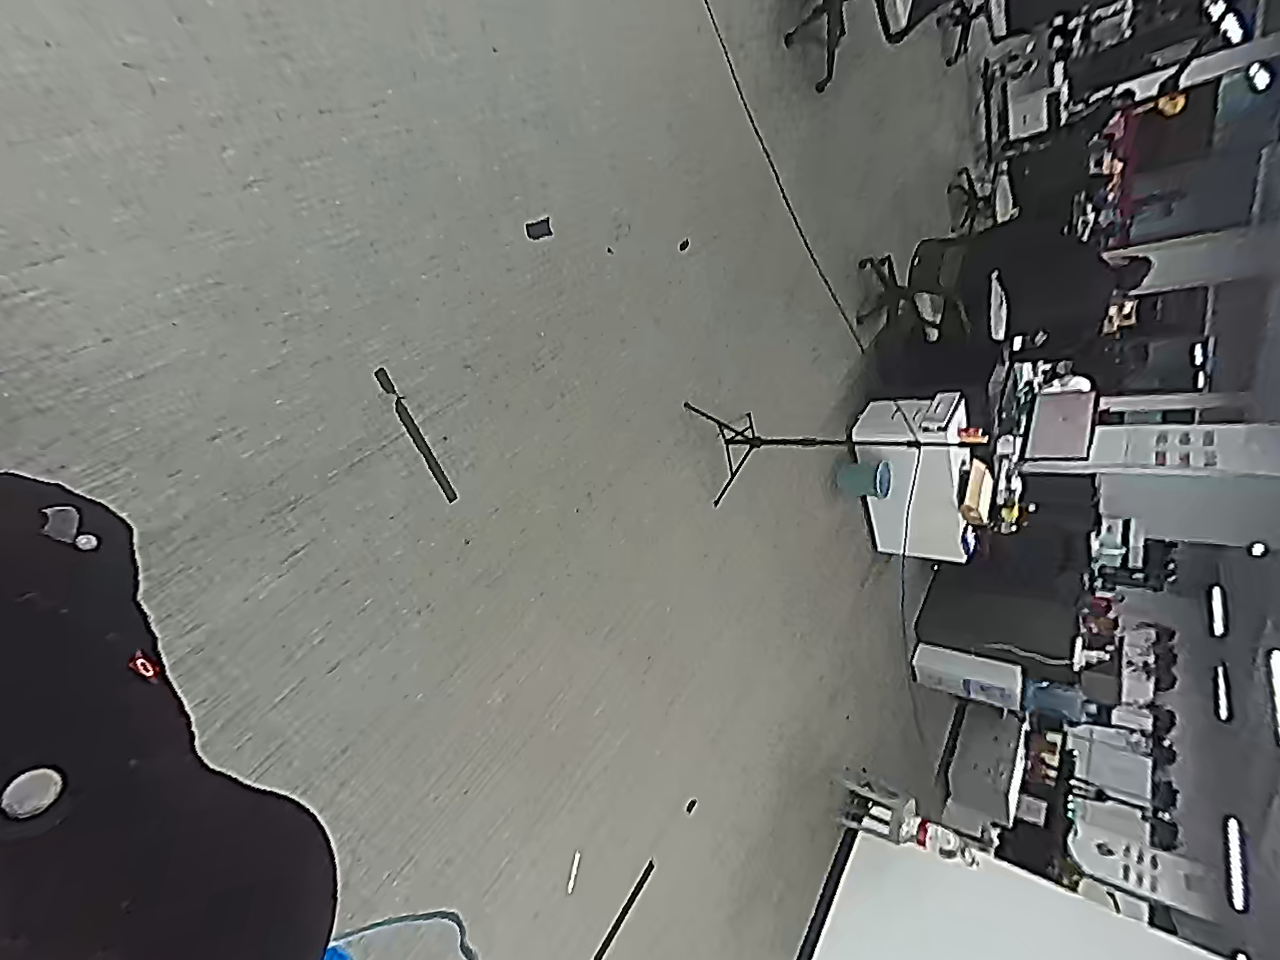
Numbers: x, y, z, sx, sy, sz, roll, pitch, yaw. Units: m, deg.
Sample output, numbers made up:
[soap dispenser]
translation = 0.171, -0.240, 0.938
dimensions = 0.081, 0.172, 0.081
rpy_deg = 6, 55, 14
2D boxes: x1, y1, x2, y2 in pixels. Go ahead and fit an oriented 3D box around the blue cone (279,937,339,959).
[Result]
[blue cone]
translation = -0.692, 1.205, 1.153
dimensions = 0.192, 0.380, 0.193
rpy_deg = -44, 123, -38
